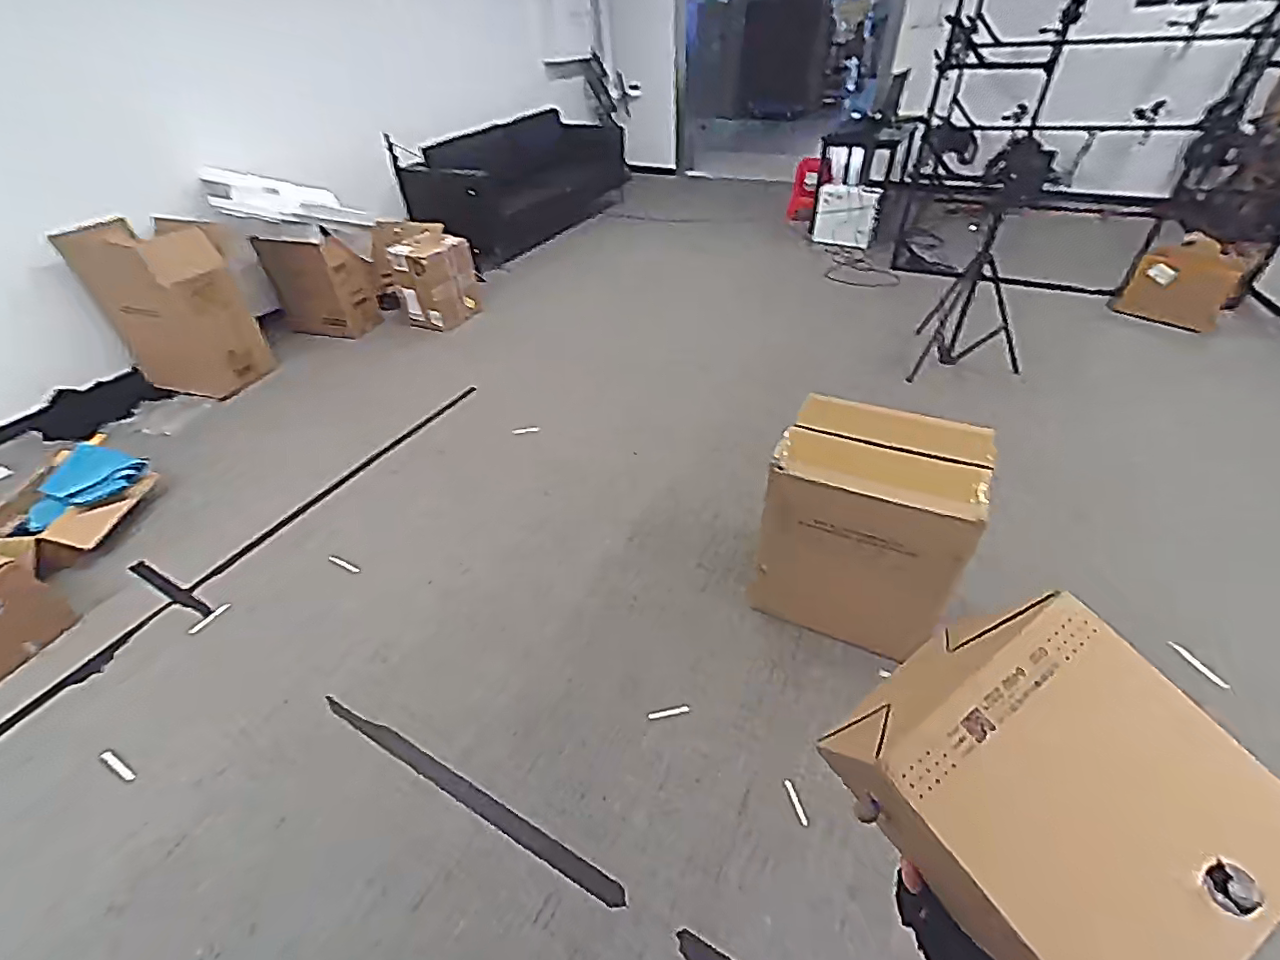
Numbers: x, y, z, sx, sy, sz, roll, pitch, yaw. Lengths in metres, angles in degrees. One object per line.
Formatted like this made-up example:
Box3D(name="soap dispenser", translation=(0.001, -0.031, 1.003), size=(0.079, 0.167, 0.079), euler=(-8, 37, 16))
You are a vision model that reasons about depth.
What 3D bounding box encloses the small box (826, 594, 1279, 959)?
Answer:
Box3D(name="small box", translation=(0.255, 0.199, 0.368), size=(0.168, 0.179, 0.176), euler=(-37, 69, -8))
